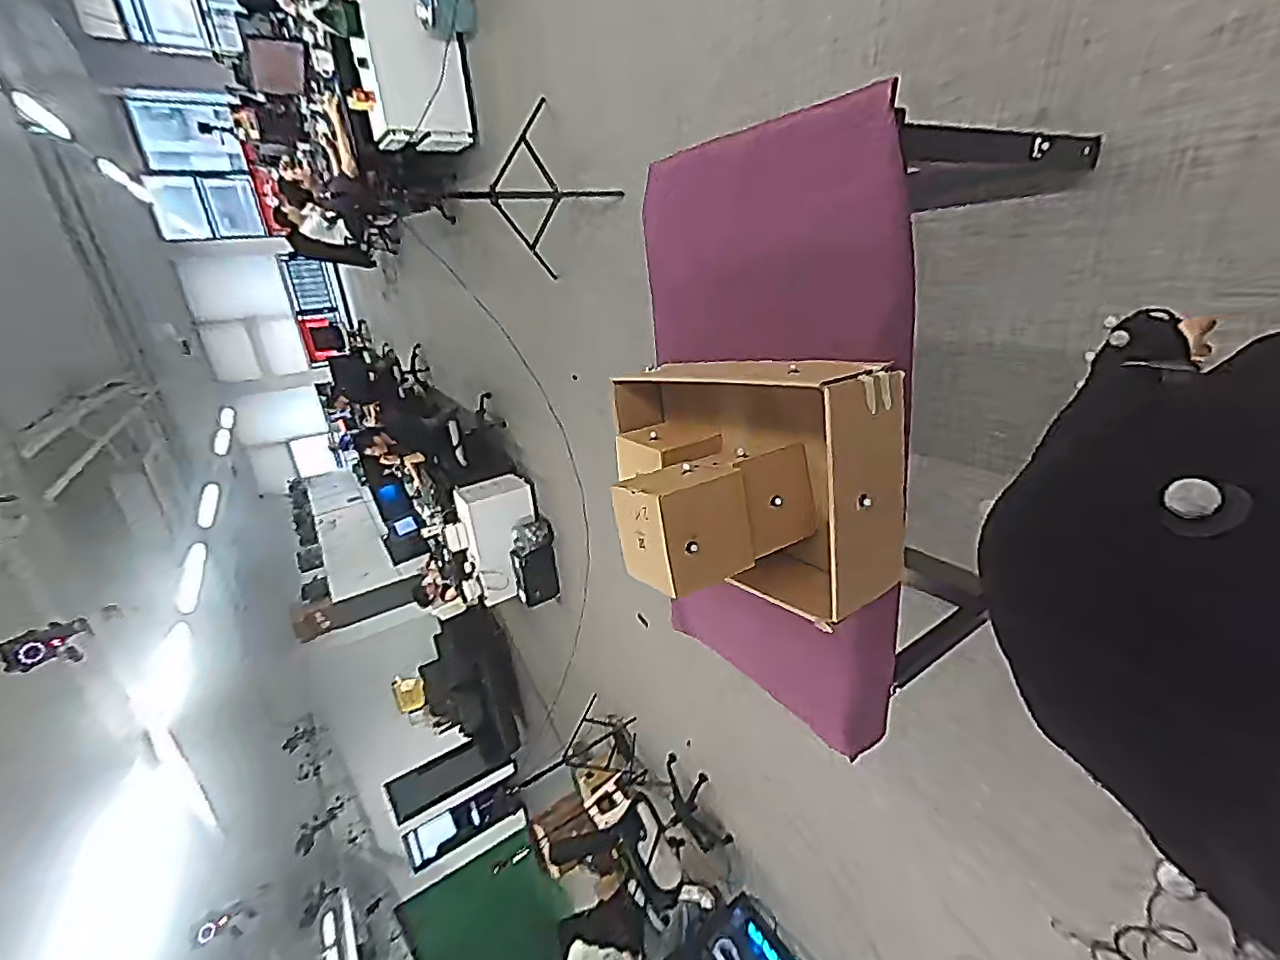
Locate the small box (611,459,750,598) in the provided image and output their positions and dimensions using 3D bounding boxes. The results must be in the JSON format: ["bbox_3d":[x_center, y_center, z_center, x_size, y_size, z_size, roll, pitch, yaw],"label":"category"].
[{"bbox_3d":[0.073,0.074,0.936,0.168,0.176,0.179,12,115,59],"label":"small box"}]
